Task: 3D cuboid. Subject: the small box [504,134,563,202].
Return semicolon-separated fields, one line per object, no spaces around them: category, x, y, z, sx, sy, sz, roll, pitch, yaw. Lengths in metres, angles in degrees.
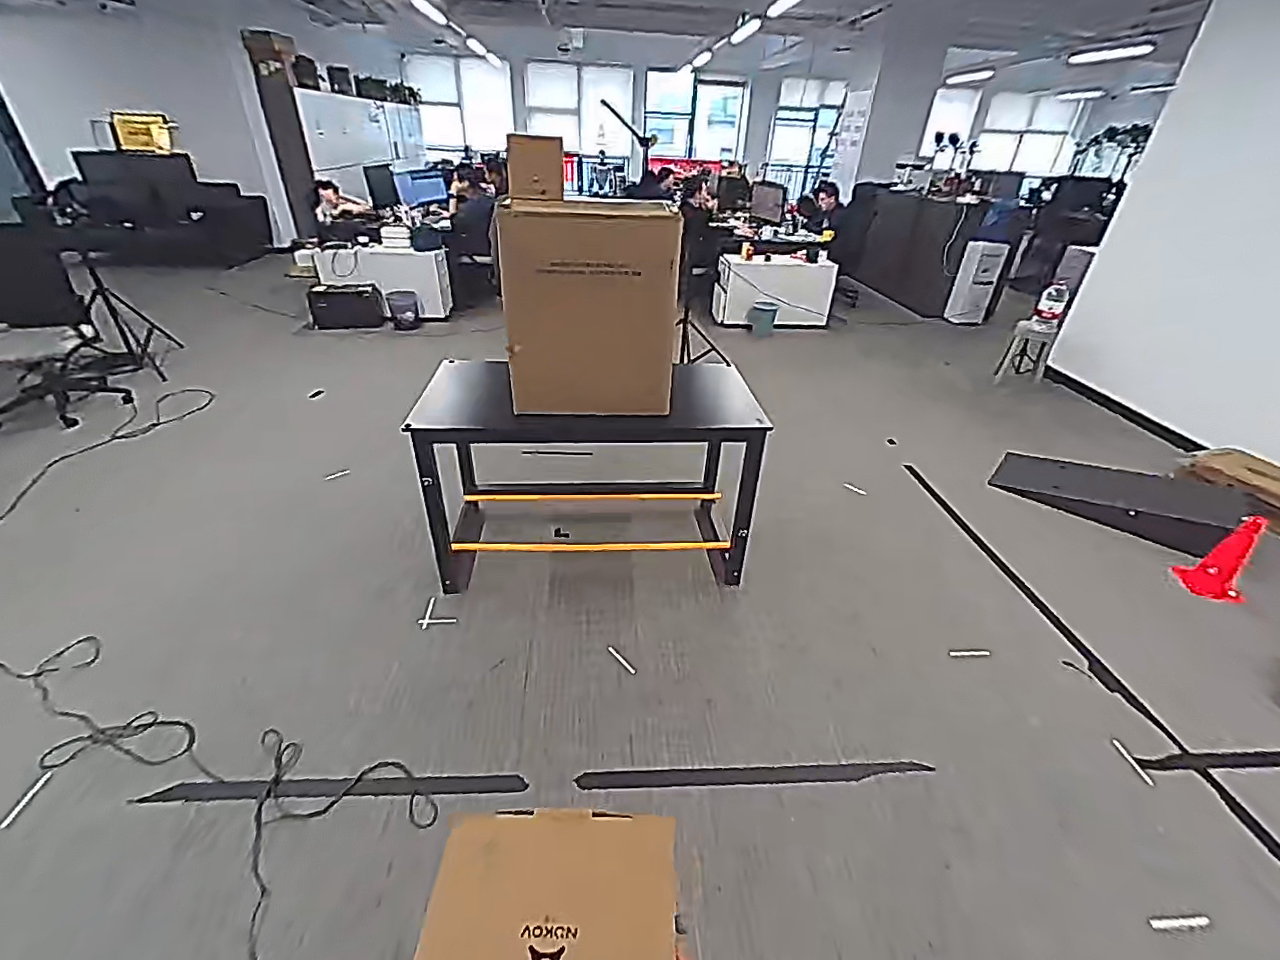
small box;-0.325;-0.964;1.674;0.168;0.176;0.179;-1;31;-7

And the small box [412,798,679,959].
small box;-0.060;0.357;0.379;0.168;0.176;0.179;1;34;1
